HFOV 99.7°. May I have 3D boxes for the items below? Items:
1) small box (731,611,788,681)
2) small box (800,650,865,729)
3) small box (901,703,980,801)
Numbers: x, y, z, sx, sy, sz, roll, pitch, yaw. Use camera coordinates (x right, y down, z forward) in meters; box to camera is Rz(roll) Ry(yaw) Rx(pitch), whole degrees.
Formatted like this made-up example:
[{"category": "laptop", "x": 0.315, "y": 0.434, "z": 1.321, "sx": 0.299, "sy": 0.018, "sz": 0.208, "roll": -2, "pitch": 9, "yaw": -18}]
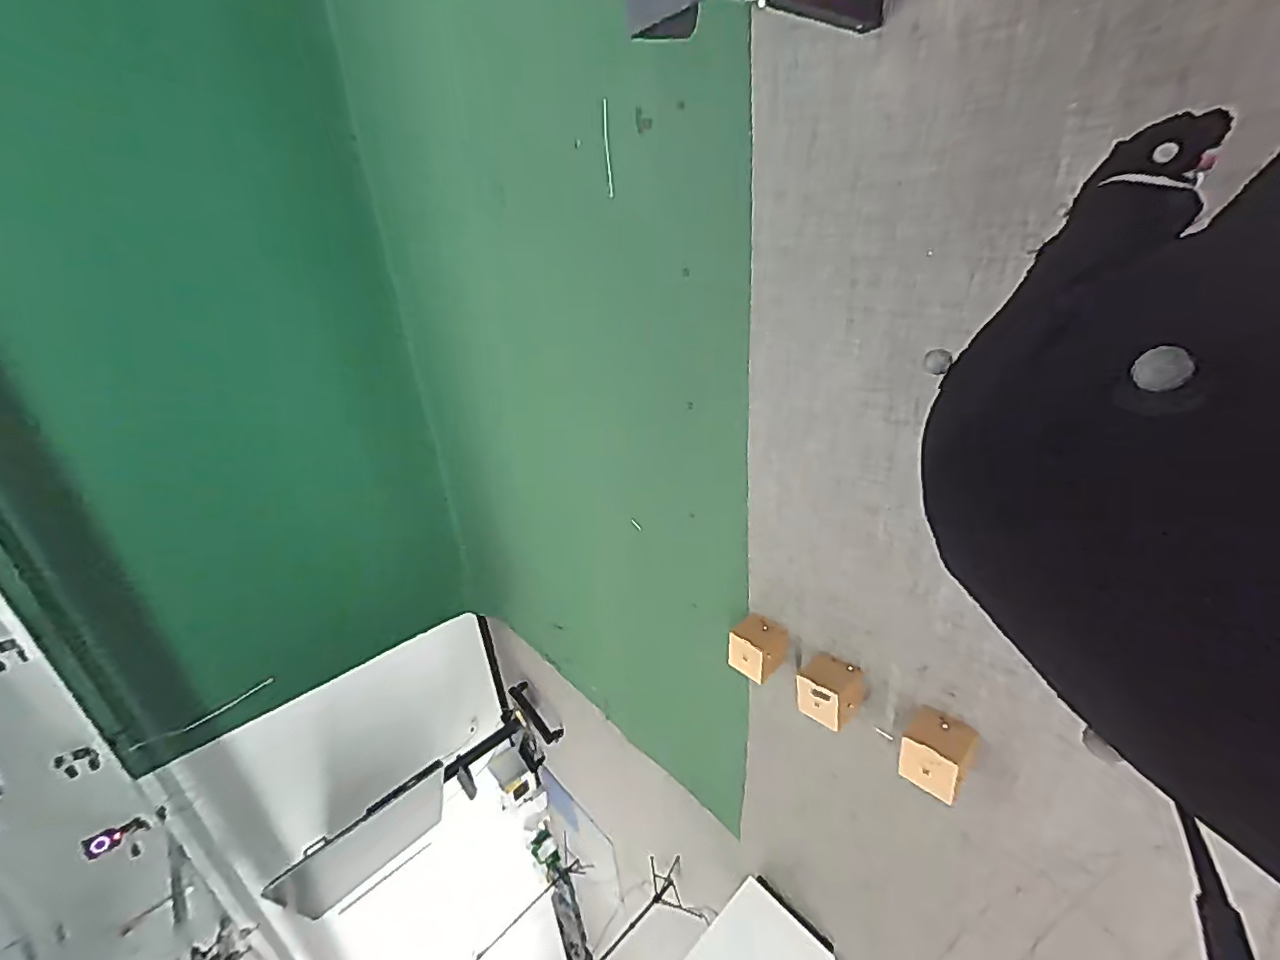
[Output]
[{"category": "small box", "x": 0.487, "y": 0.671, "z": 2.199, "sx": 0.168, "sy": 0.176, "sz": 0.179, "roll": 22, "pitch": 125, "yaw": 43}, {"category": "small box", "x": 0.703, "y": 0.756, "z": 1.973, "sx": 0.168, "sy": 0.176, "sz": 0.179, "roll": 17, "pitch": 122, "yaw": 47}, {"category": "small box", "x": 0.952, "y": 0.853, "z": 1.711, "sx": 0.168, "sy": 0.176, "sz": 0.179, "roll": 18, "pitch": 122, "yaw": 44}]
